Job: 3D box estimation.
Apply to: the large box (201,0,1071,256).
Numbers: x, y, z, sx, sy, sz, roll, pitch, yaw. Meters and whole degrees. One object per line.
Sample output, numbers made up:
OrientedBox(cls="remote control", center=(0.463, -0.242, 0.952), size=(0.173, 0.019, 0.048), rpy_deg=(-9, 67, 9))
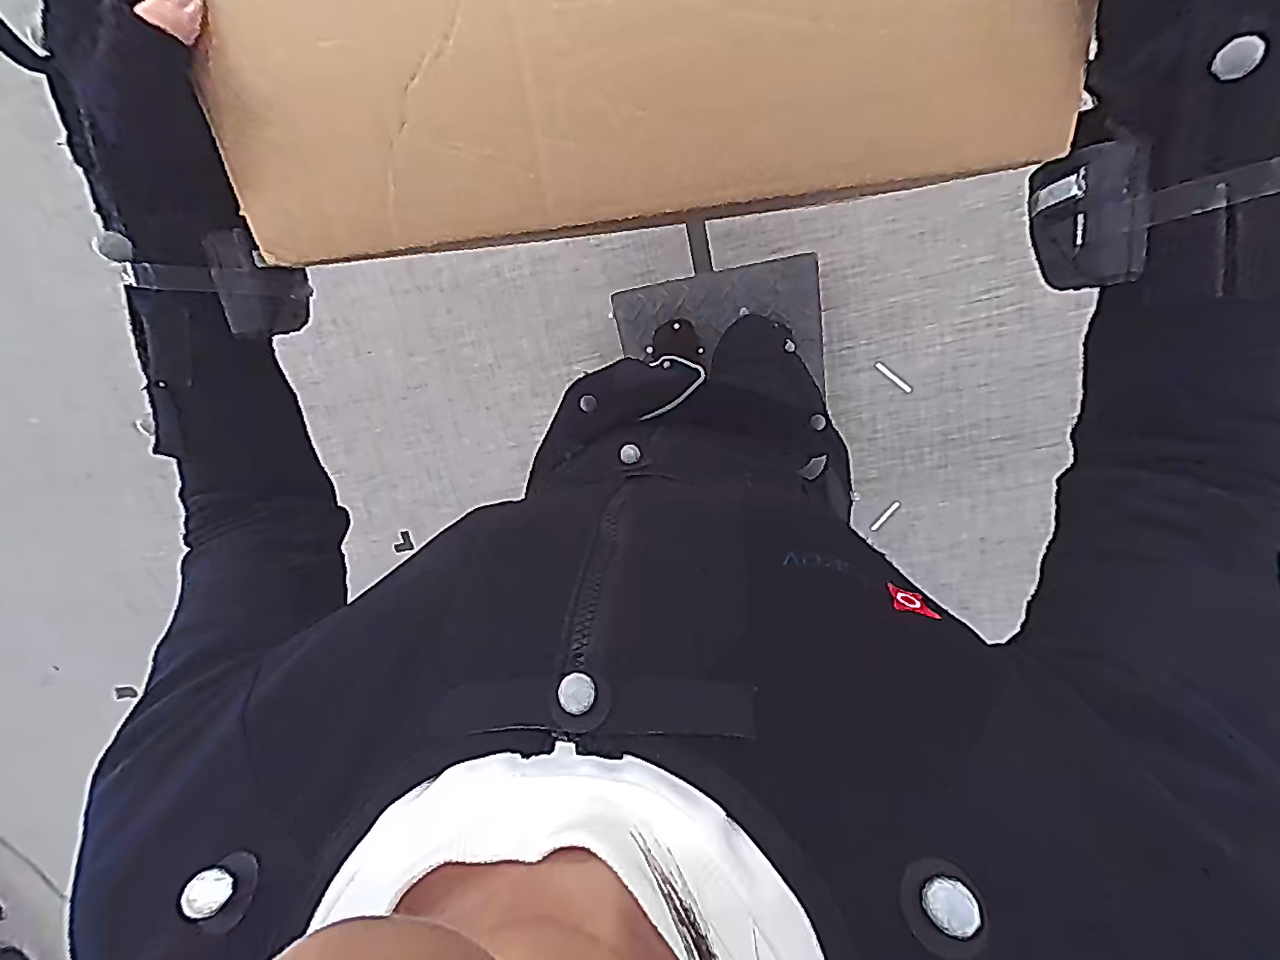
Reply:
OrientedBox(cls="large box", center=(-0.009, -0.345, 0.355), size=(0.408, 0.320, 0.320), rpy_deg=(-4, 115, 8))

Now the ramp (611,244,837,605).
OrientedBox(cls="ramp", center=(0.268, -0.070, 1.484), size=(0.509, 0.206, 0.991), rpy_deg=(-10, 106, 10))
